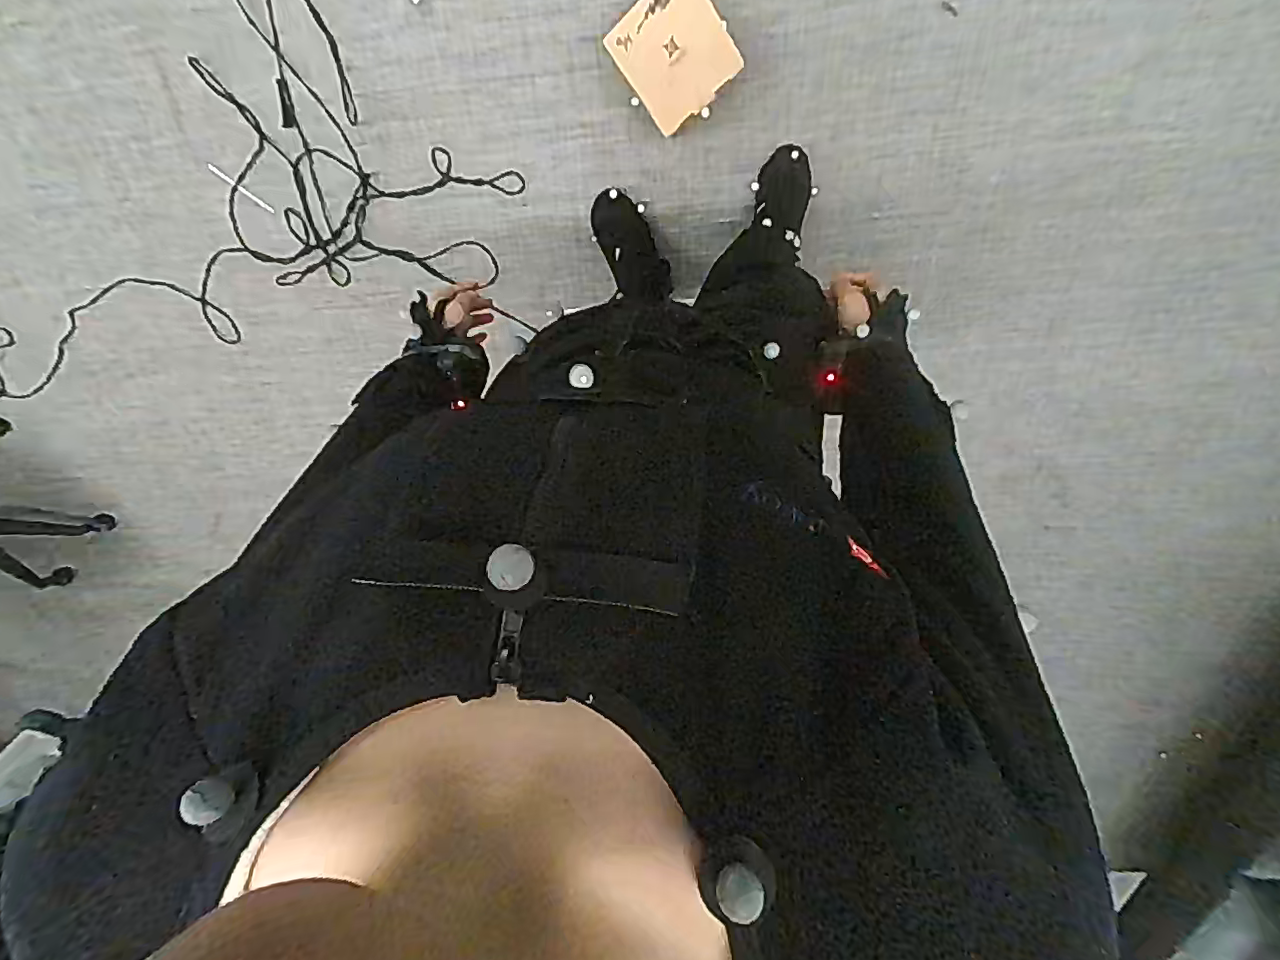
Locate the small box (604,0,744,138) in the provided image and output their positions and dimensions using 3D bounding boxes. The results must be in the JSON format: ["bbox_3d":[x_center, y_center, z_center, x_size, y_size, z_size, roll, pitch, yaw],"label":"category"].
[{"bbox_3d":[0.062,-0.735,0.943,0.168,0.176,0.179,-33,115,21],"label":"small box"}]
